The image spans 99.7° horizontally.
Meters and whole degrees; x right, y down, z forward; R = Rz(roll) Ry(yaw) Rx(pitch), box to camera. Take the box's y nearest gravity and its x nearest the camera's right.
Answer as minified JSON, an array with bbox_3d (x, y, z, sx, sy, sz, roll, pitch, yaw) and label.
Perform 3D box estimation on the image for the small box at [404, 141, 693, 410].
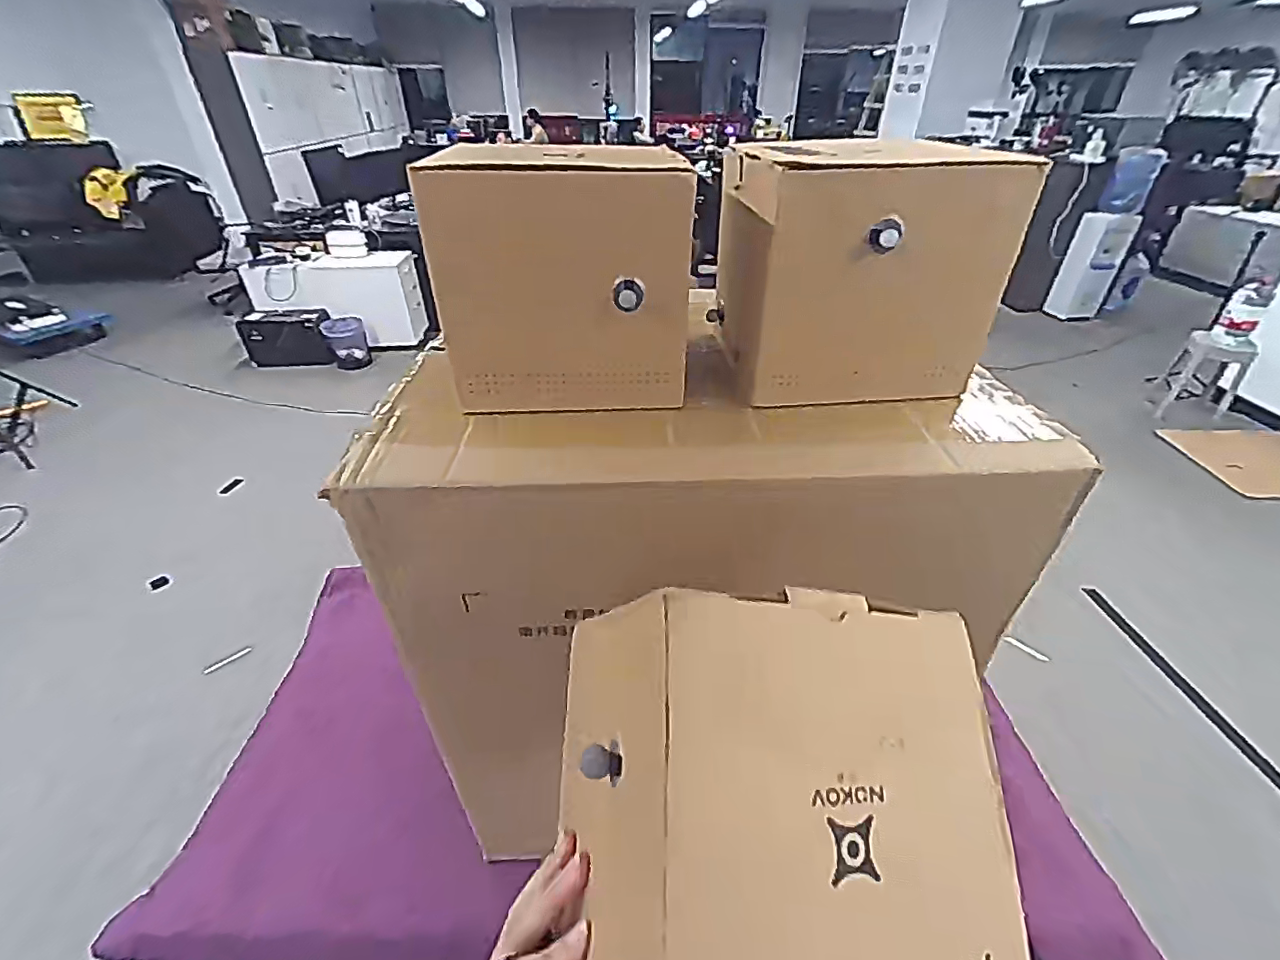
[{"bbox_3d":[-0.061,-0.167,0.436,0.179,0.176,0.168,-3,35,-4],"label":"small box"}]

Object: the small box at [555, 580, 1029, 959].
[{"bbox_3d":[0.056,0.162,0.288,0.168,0.176,0.179,9,67,-18],"label":"small box"}]

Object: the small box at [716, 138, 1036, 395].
[{"bbox_3d":[0.162,-0.178,0.447,0.179,0.176,0.168,-3,36,-4],"label":"small box"}]
